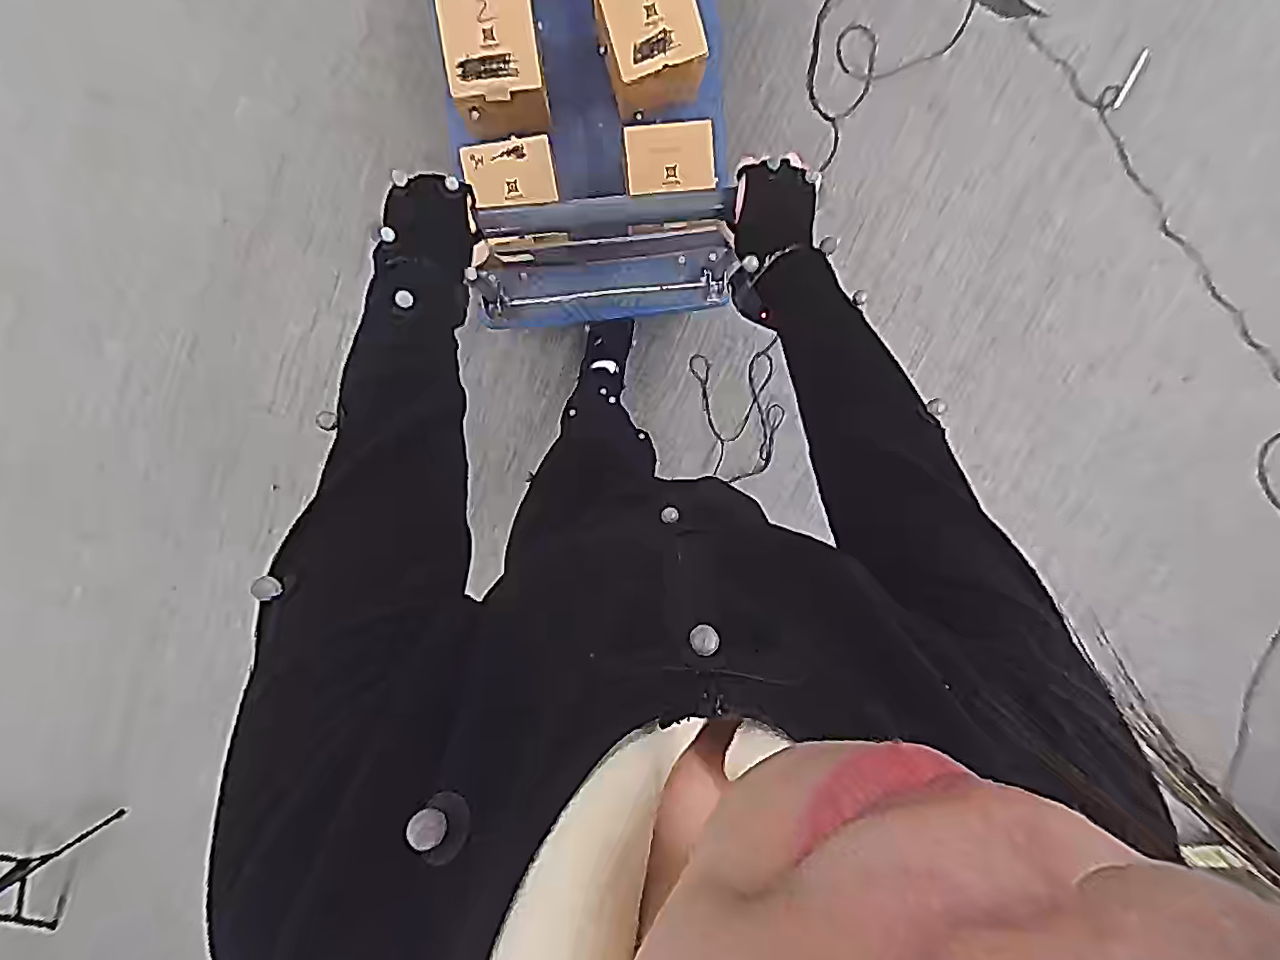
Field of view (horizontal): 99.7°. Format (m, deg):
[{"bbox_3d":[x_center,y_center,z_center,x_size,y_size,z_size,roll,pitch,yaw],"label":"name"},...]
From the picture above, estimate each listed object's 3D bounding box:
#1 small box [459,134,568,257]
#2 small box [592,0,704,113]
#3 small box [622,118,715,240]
[{"bbox_3d":[-0.242,-0.556,1.083,0.168,0.176,0.179,-10,103,-2],"label":"small box"},{"bbox_3d":[0.013,-0.844,1.039,0.168,0.176,0.179,-18,101,1],"label":"small box"},{"bbox_3d":[0.053,-0.595,1.093,0.168,0.176,0.179,-6,101,-2],"label":"small box"}]
